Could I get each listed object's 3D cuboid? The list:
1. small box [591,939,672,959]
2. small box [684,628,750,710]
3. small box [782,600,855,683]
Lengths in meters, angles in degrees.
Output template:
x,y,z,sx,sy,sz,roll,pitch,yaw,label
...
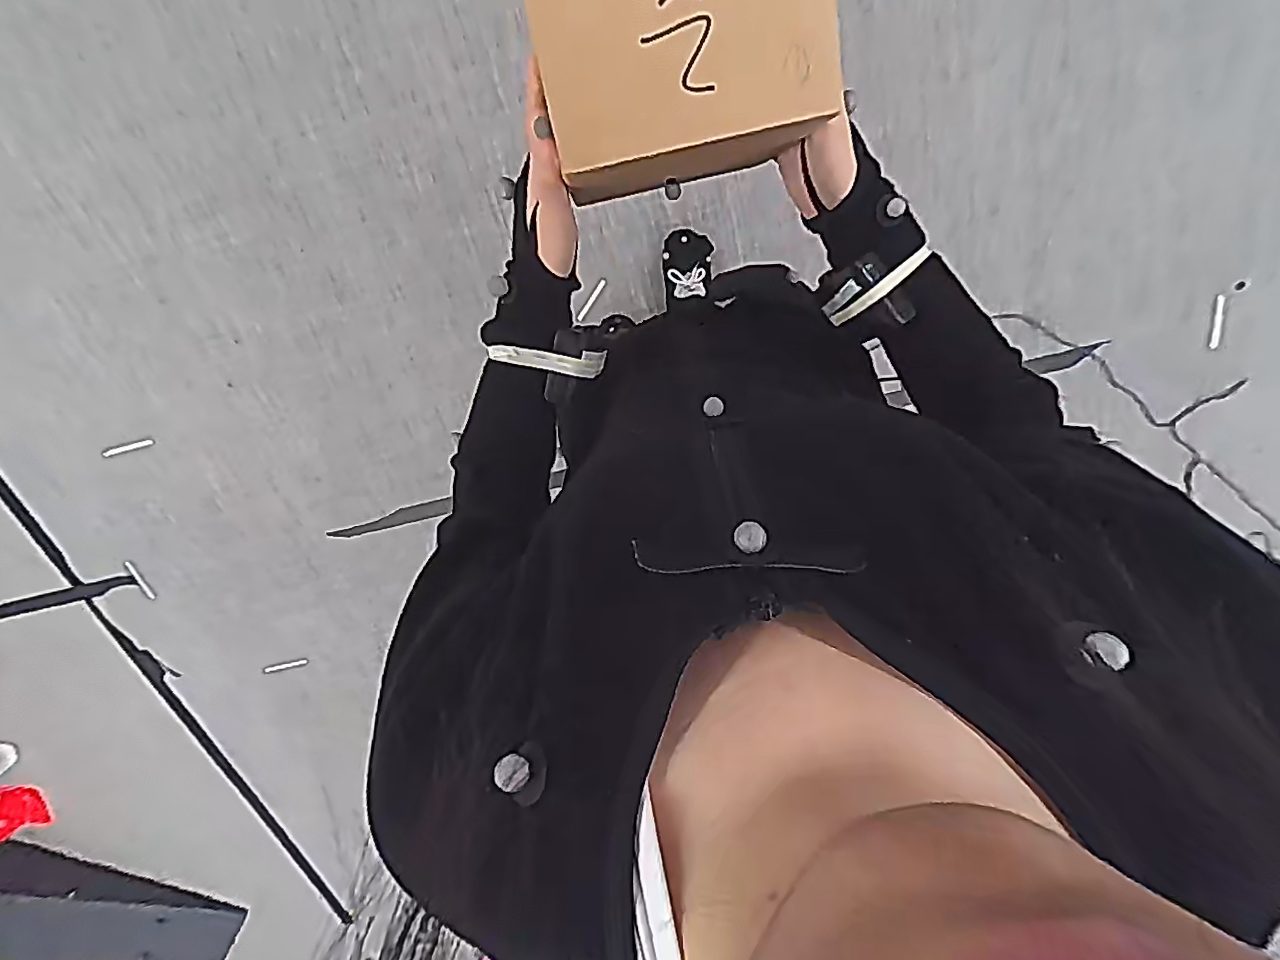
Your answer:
x,y,z,sx,sy,sz,roll,pitch,yaw,label
-0.014,1.106,1.126,0.179,0.176,0.168,-13,113,4,small box
0.239,0.586,1.706,0.168,0.176,0.179,-12,113,5,small box
0.546,0.489,1.669,0.168,0.176,0.179,-13,113,5,small box
